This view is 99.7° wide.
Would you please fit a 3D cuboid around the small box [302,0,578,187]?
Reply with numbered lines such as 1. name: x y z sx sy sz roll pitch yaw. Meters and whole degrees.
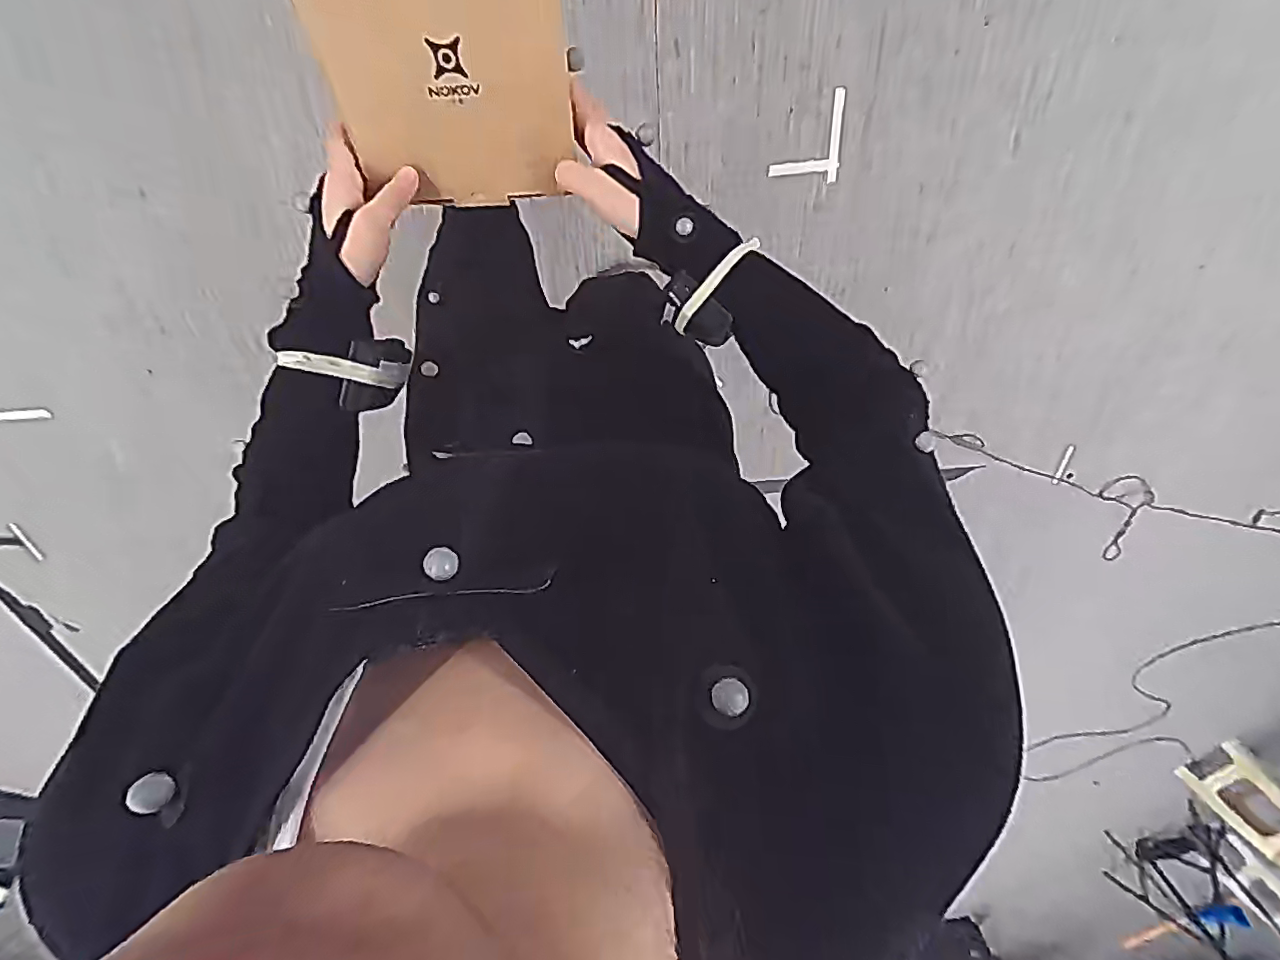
1. small box: -0.138 -0.354 0.408 0.168 0.176 0.179 -6 145 -4
